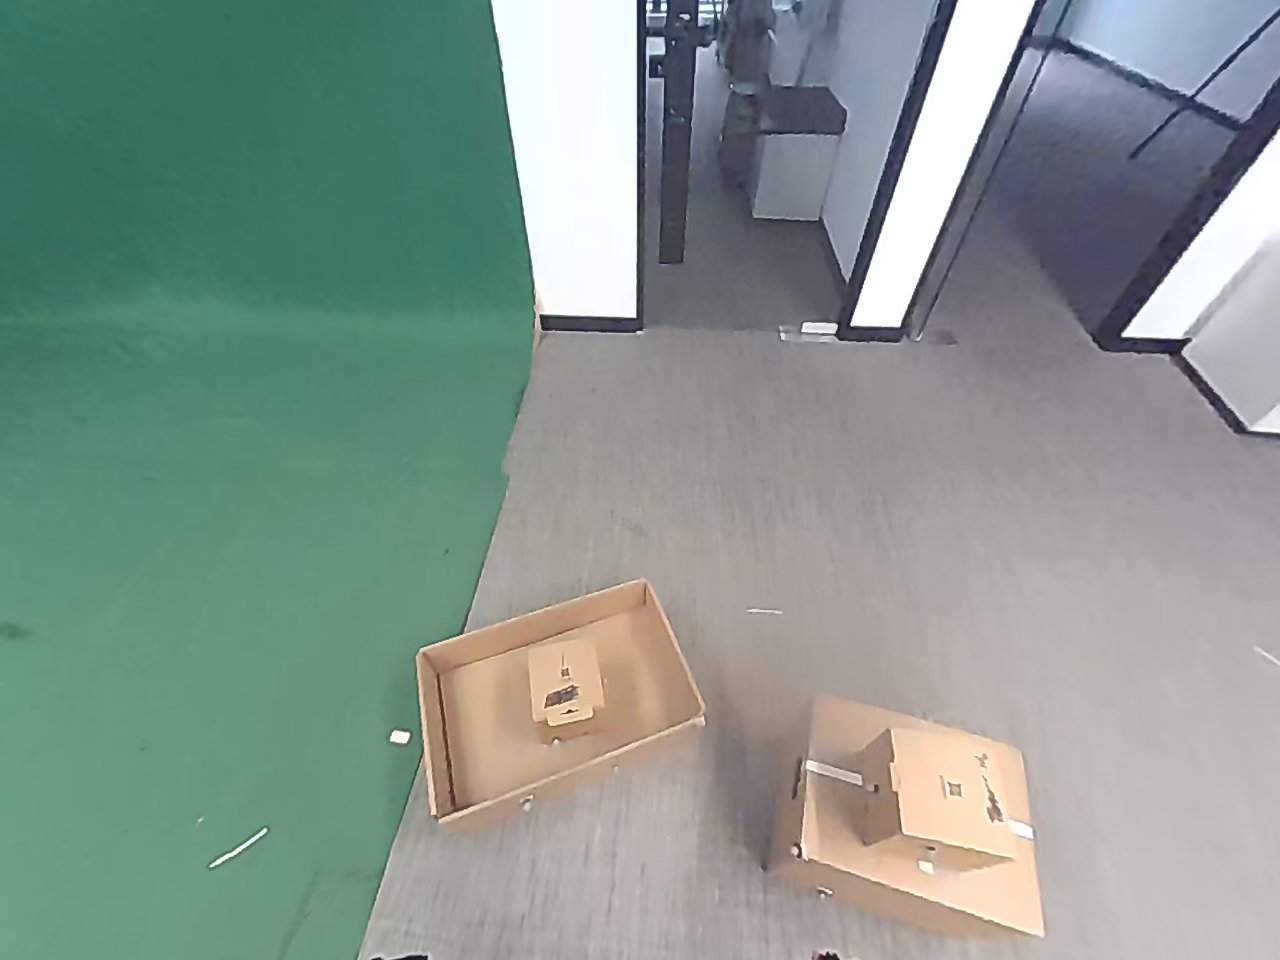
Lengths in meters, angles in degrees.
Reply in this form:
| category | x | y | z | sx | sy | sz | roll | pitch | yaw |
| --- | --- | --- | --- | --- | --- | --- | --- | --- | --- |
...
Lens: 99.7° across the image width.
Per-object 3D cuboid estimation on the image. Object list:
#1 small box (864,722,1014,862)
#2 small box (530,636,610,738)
| category | x | y | z | sx | sy | sz | roll | pitch | yaw |
| --- | --- | --- | --- | --- | --- | --- | --- | --- | --- |
| small box | 0.502 | 0.547 | 0.944 | 0.179 | 0.176 | 0.168 | 8 | 50 | 7 |
| small box | -0.170 | 0.514 | 1.325 | 0.168 | 0.176 | 0.179 | -10 | 48 | -8 |
